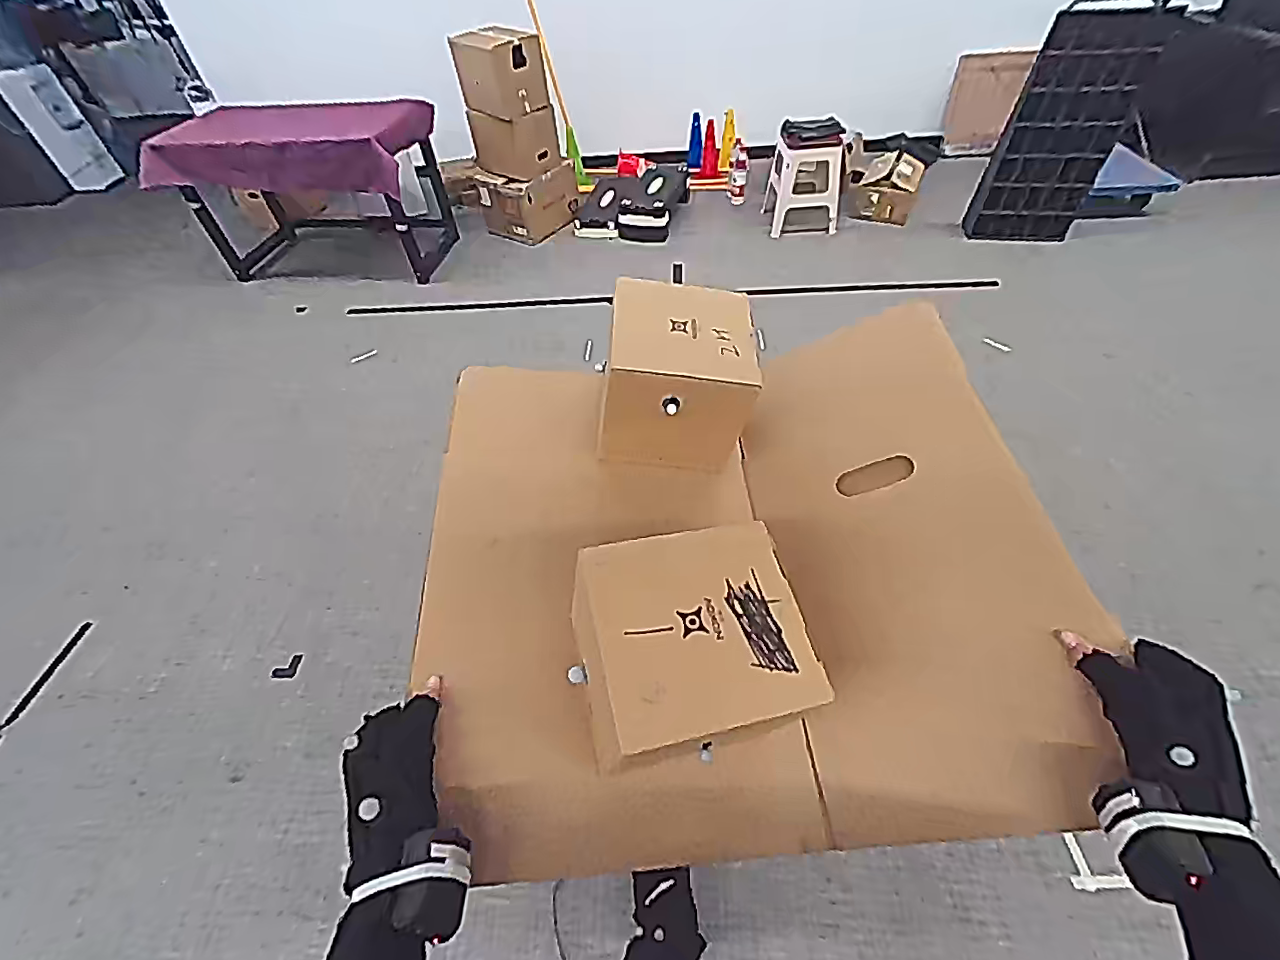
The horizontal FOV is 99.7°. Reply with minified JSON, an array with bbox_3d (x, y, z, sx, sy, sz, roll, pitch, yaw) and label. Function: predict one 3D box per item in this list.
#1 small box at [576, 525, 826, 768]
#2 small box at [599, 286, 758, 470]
[{"bbox_3d":[0.039,0.163,0.521,0.179,0.176,0.168,-7,58,-14],"label":"small box"},{"bbox_3d":[0.041,-0.129,0.720,0.179,0.176,0.168,6,55,-6],"label":"small box"}]
